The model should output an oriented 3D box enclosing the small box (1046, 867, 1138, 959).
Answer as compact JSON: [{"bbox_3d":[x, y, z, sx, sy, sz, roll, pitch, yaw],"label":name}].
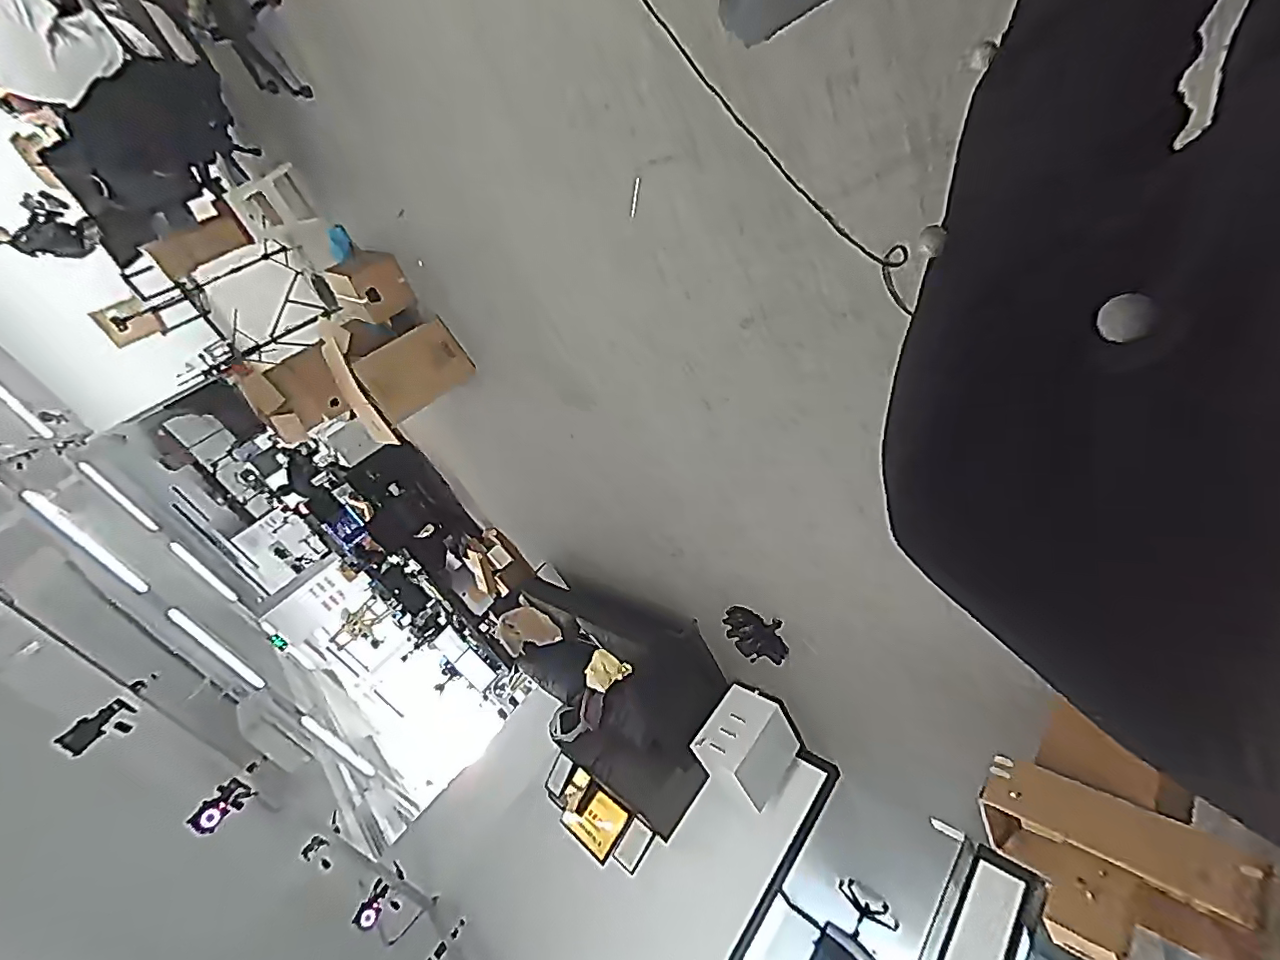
[{"bbox_3d":[1.303,1.273,1.555,0.168,0.176,0.179,1,128,52],"label":"small box"}]

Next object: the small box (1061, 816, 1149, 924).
[{"bbox_3d":[1.405,1.168,1.629,0.168,0.176,0.179,-2,128,52],"label":"small box"}]
